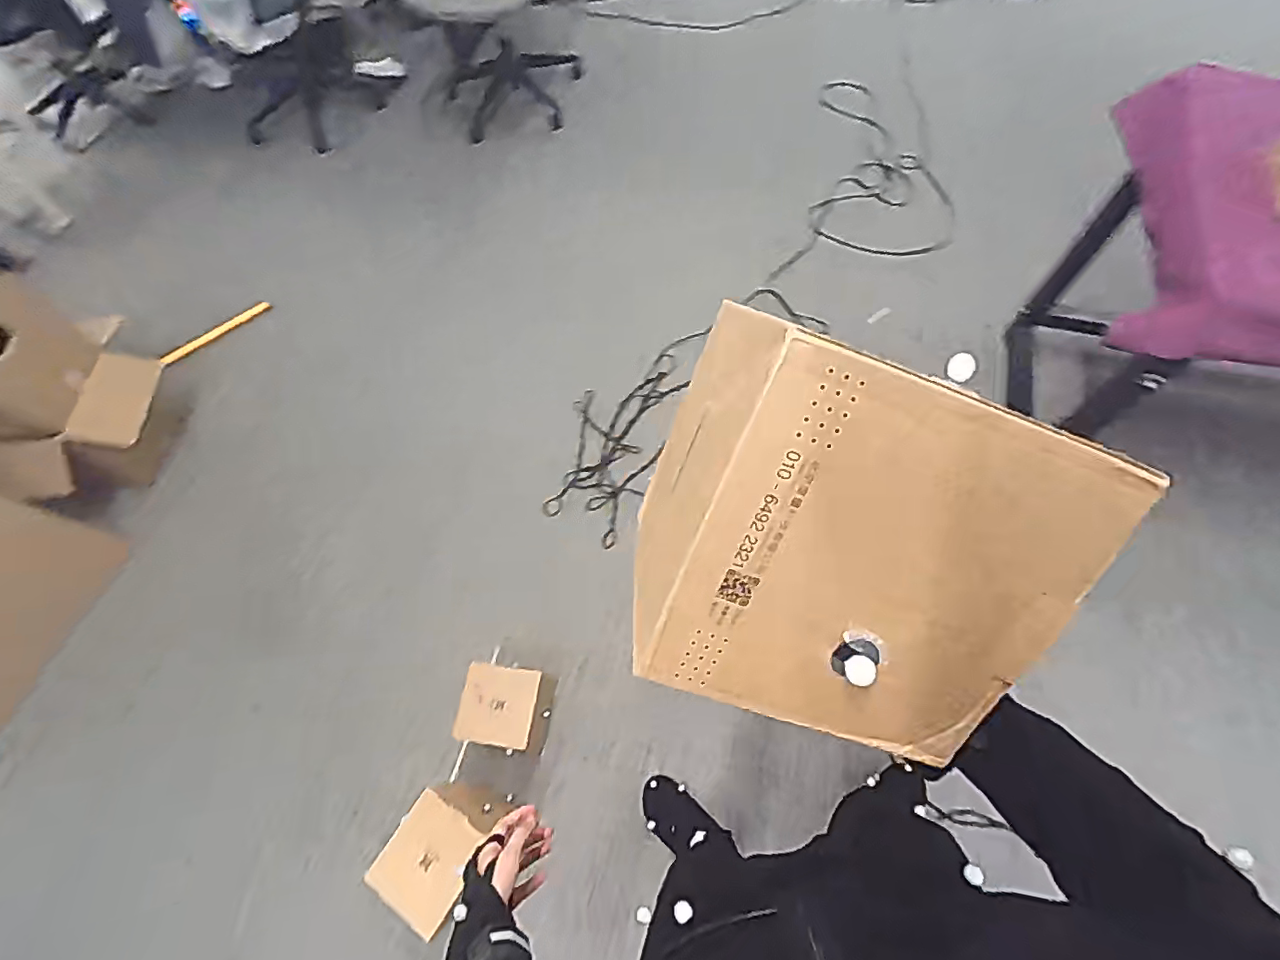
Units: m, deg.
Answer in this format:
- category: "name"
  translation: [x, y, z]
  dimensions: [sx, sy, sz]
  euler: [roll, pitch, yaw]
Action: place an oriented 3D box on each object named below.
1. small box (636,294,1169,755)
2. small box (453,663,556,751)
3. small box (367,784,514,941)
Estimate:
- category: "small box"
  translation: [0.101, 0.007, 0.302]
  dimensions: [0.176, 0.179, 0.168]
  euler: [20, 110, -7]
- category: "small box"
  translation: [-0.313, 0.543, 1.294]
  dimensions: [0.179, 0.176, 0.168]
  euler: [5, 66, 9]
- category: "small box"
  translation: [-0.370, 0.718, 1.041]
  dimensions: [0.168, 0.176, 0.179]
  euler: [28, 69, 18]
